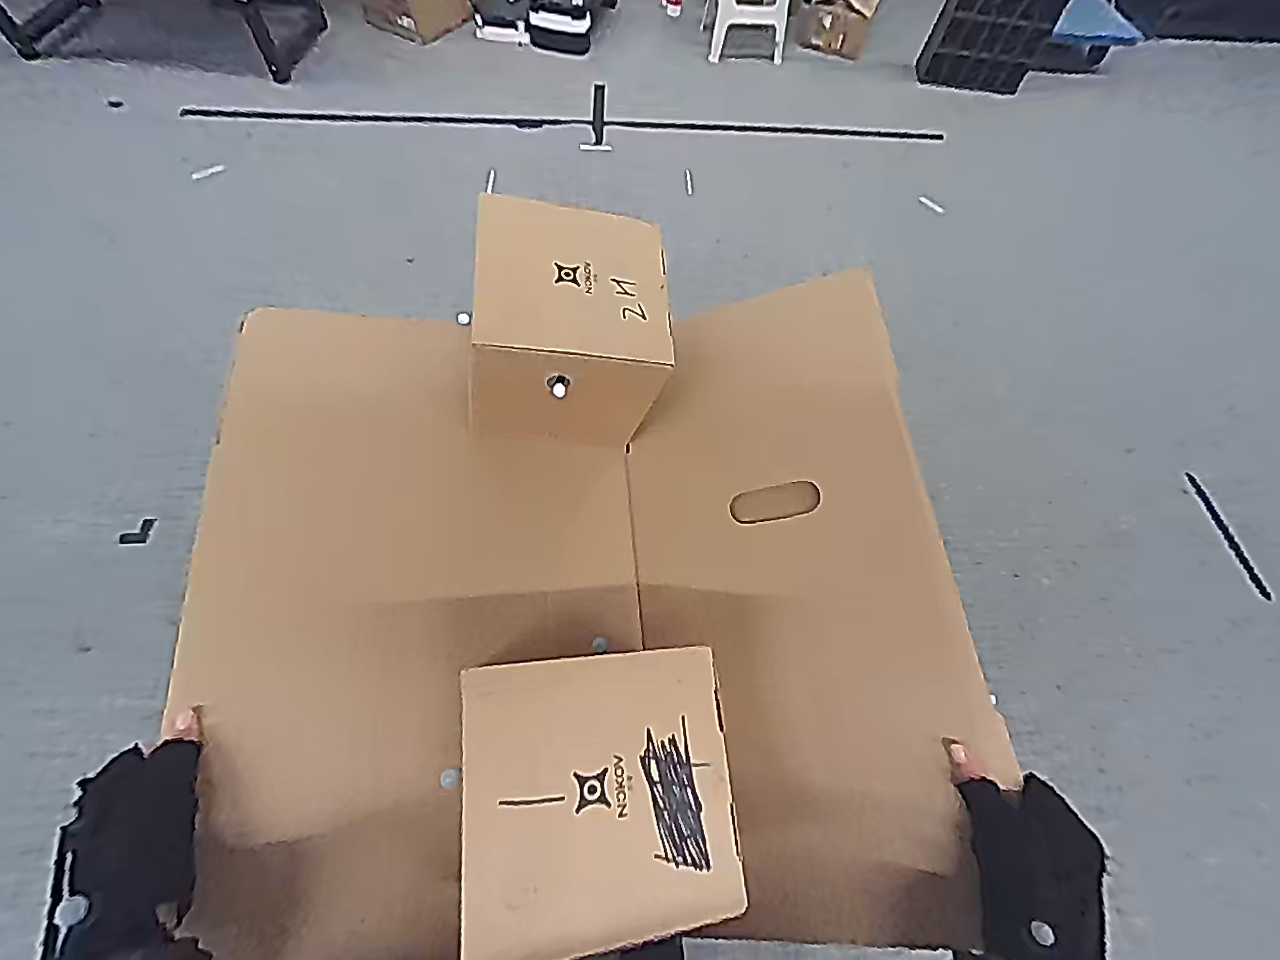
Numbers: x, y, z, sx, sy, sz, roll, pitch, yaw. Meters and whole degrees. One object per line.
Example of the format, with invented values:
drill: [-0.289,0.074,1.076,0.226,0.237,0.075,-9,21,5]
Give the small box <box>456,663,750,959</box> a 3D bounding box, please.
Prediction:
small box: [-0.042,0.230,0.407,0.179,0.176,0.168,0,70,-16]
